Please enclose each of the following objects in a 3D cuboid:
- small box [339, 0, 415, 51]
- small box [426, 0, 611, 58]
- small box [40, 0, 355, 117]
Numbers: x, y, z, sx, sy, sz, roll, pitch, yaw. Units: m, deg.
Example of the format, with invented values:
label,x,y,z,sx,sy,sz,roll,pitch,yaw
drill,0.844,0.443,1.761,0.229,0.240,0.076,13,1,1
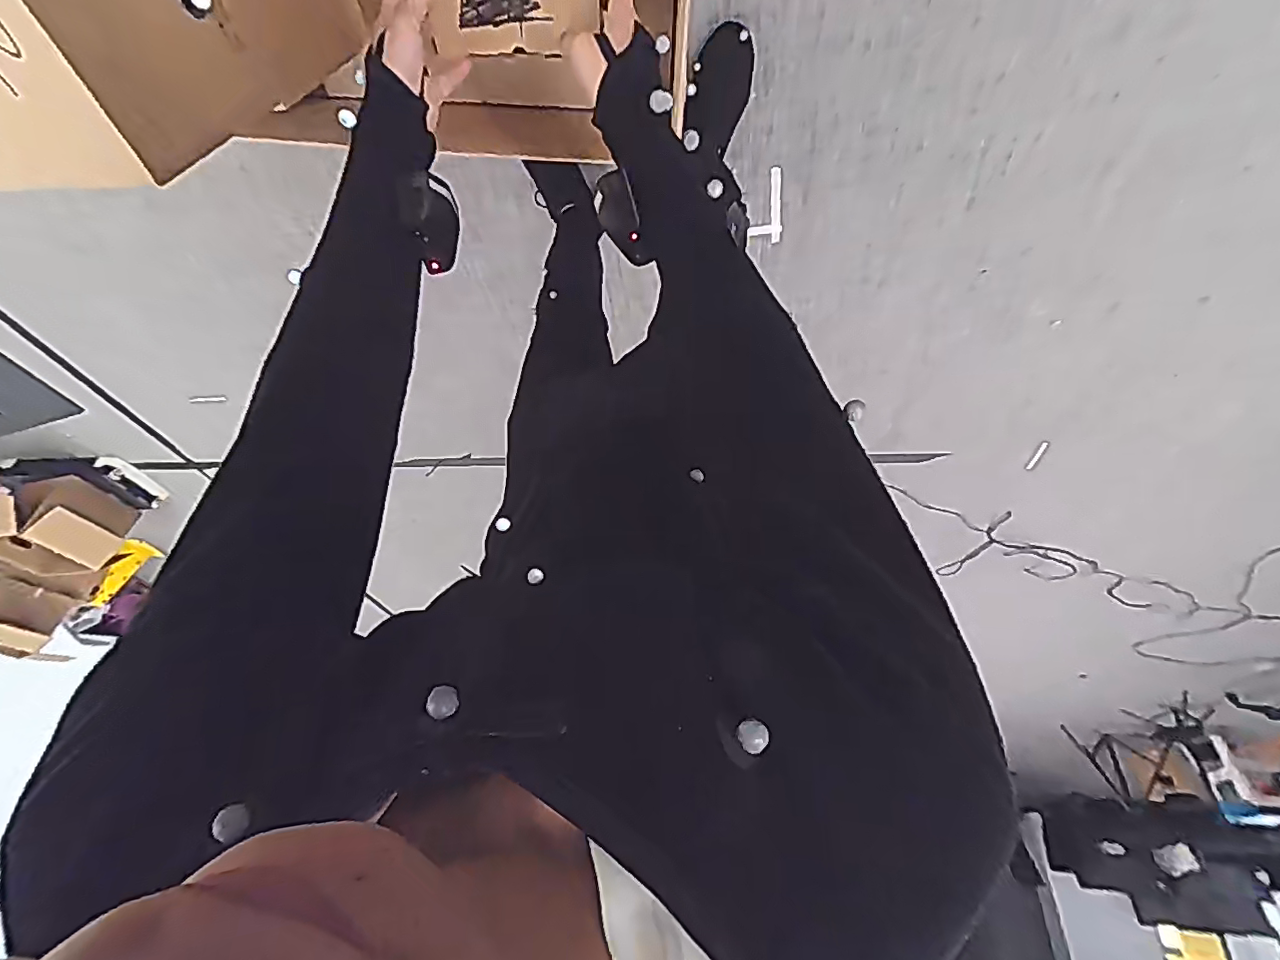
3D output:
label,x,y,z,sx,sy,sz,roll,pitch,yaw
small box,-0.367,-0.578,0.570,0.179,0.176,0.168,3,144,5
small box,-0.117,-0.539,0.532,0.168,0.176,0.179,1,134,1
small box,-0.393,-0.449,0.472,0.168,0.176,0.179,2,143,8
